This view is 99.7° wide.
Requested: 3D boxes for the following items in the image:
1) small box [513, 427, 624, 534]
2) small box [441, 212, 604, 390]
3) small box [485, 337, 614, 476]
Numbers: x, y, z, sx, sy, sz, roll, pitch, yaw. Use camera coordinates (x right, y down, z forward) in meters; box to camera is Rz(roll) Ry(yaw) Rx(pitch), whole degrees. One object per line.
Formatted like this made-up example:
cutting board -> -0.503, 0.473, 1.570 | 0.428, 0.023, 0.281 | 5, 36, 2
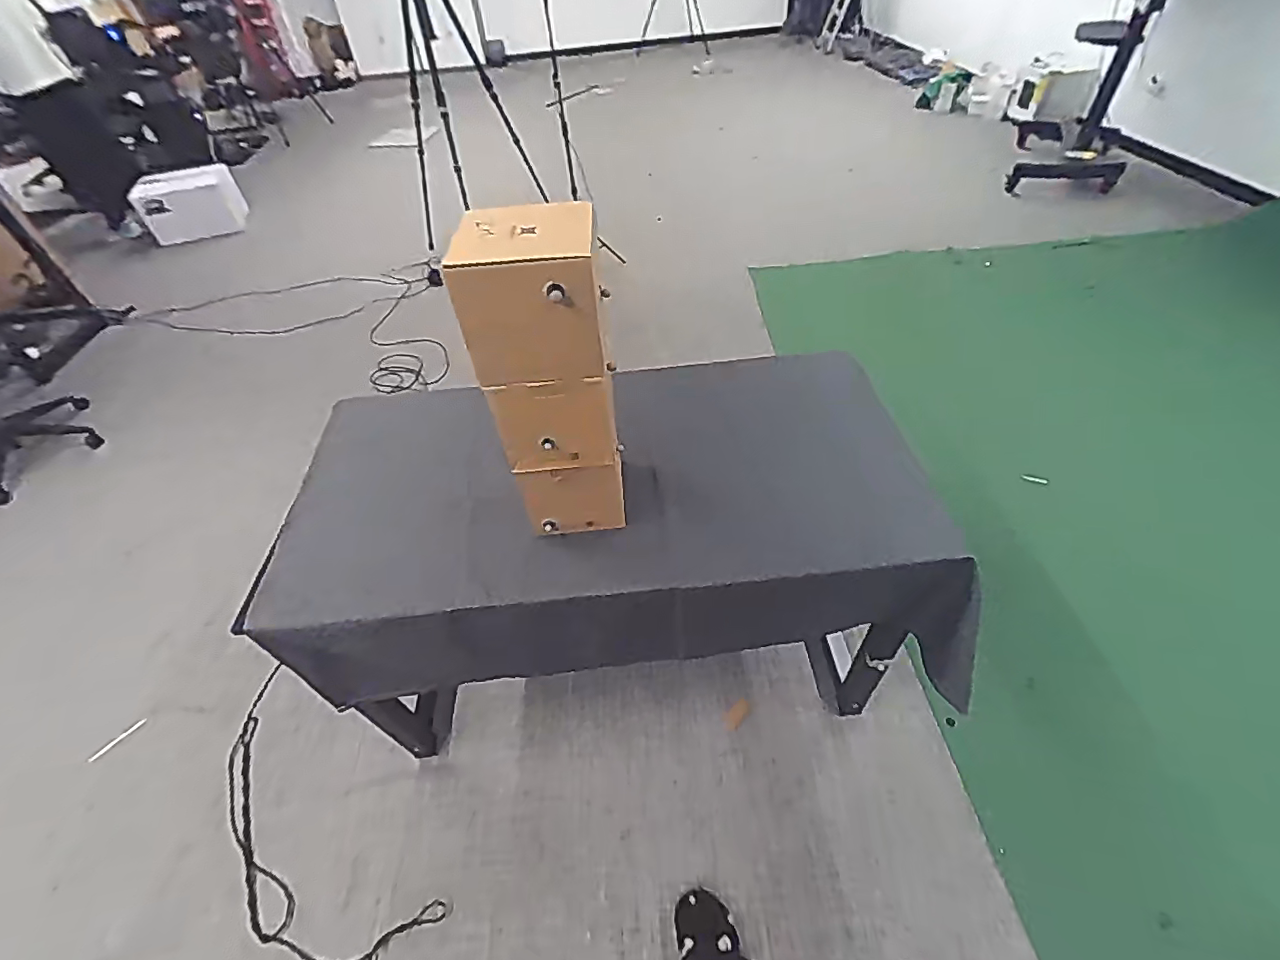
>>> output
small box -> -0.121, -0.017, 0.971 | 0.168, 0.176, 0.179 | -6, 45, 0
small box -> -0.142, -0.239, 0.732 | 0.179, 0.176, 0.168 | -5, 46, 1
small box -> -0.132, -0.128, 0.854 | 0.168, 0.176, 0.179 | -6, 46, 0
